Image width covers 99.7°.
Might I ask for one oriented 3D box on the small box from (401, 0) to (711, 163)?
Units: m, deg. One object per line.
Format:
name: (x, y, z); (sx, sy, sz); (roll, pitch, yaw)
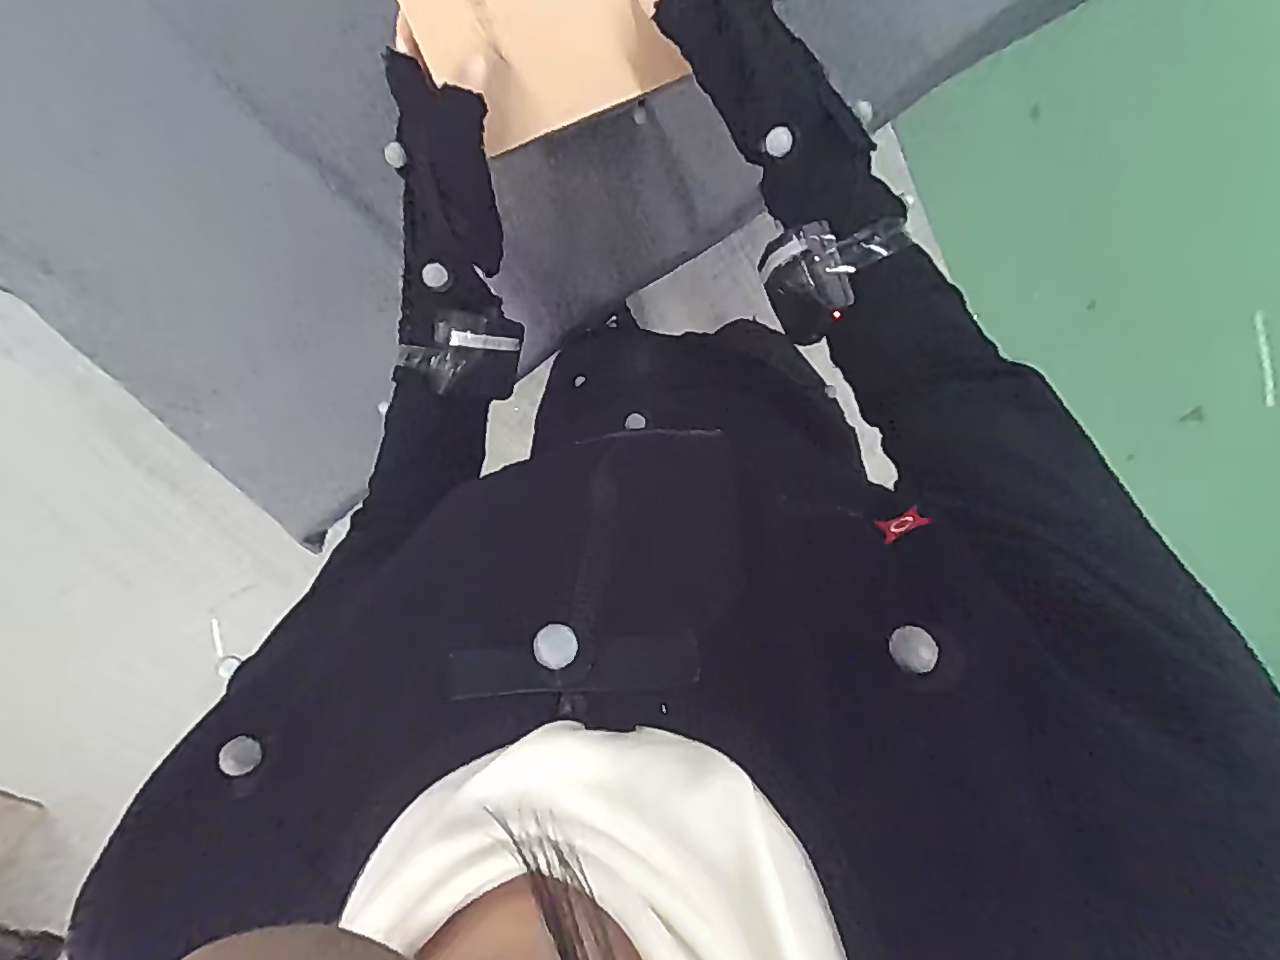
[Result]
small box: (-0.068, -0.350, 0.386); (0.179, 0.176, 0.168); (-19, 121, 6)
